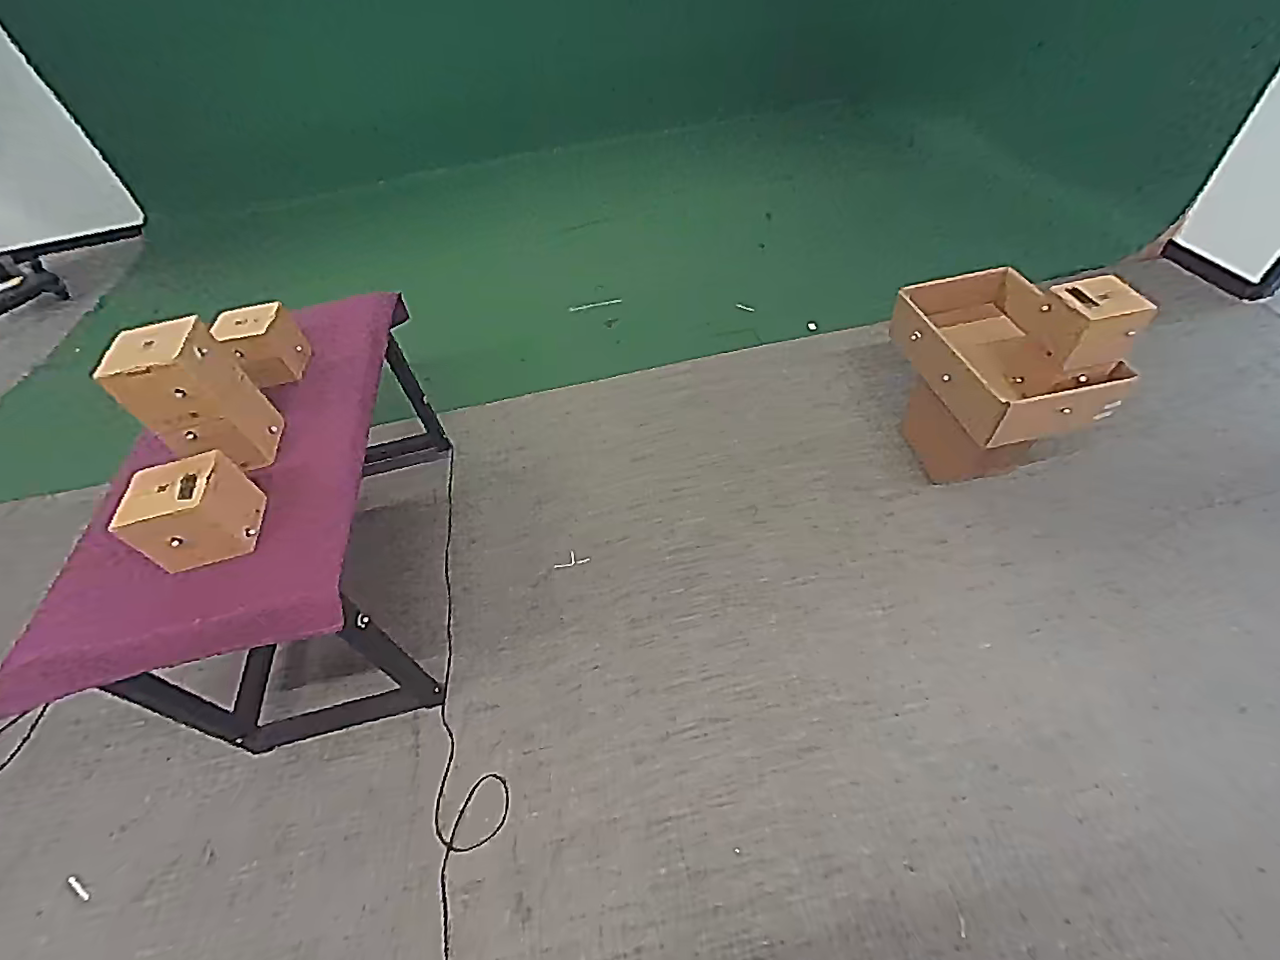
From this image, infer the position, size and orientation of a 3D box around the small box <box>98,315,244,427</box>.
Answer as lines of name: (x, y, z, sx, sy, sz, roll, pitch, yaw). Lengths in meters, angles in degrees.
small box: (-1.043, -0.240, 1.225, 0.168, 0.176, 0.179, -15, 50, -6)

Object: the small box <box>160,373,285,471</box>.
small box: (-1.026, -0.136, 1.350, 0.168, 0.176, 0.179, -16, 49, -5)

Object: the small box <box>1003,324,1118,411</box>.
small box: (1.228, -0.329, 1.595, 0.179, 0.176, 0.168, -11, 50, 0)

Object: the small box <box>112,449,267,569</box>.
small box: (-0.952, 0.065, 1.166, 0.179, 0.176, 0.168, -16, 49, -4)

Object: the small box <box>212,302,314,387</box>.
small box: (-1.098, -0.389, 1.575, 0.179, 0.176, 0.168, -11, 50, -1)
